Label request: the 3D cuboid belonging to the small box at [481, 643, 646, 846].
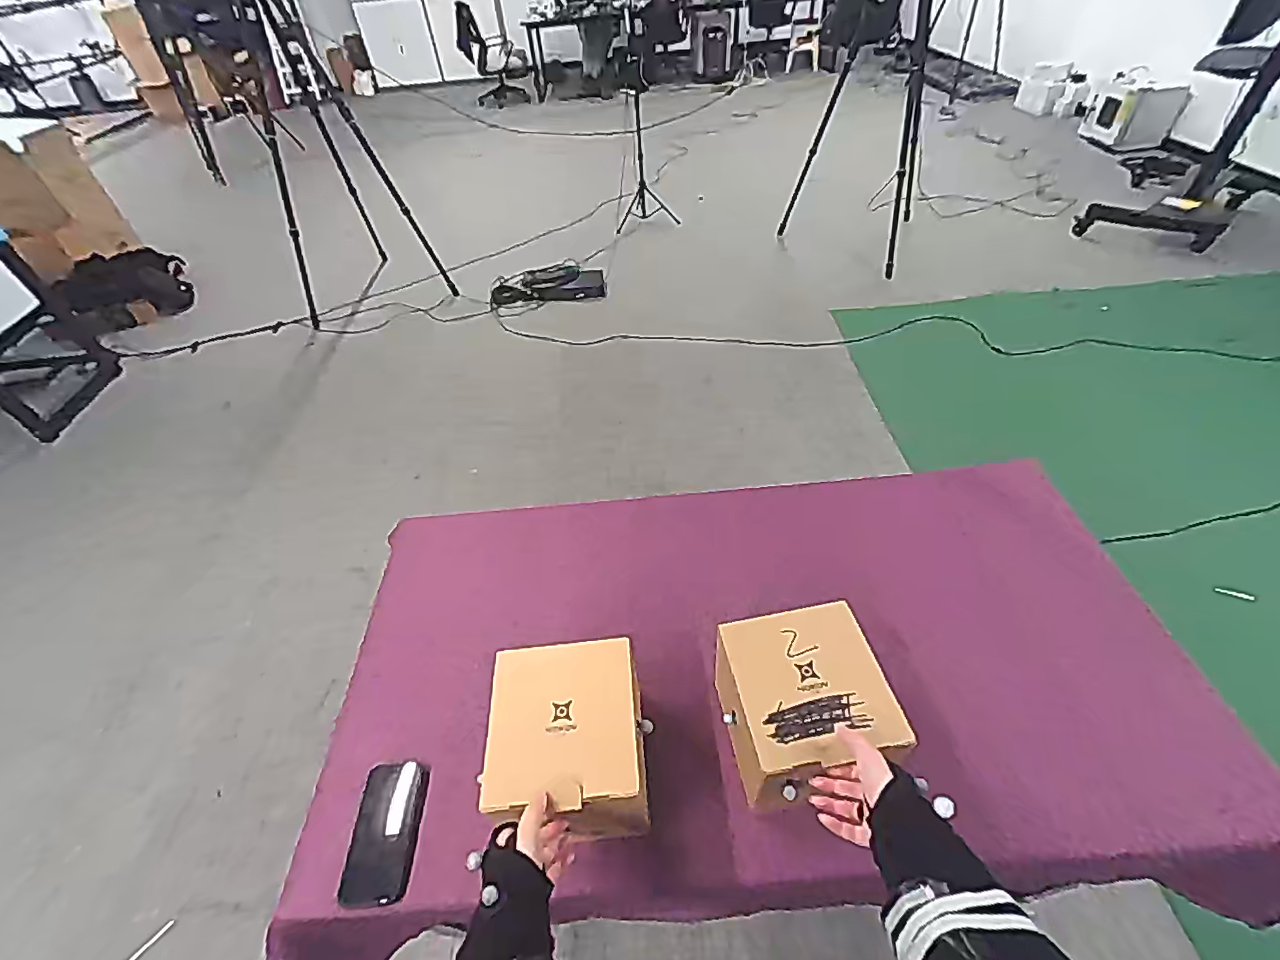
[{"bbox_3d":[-0.083,0.326,0.667,0.168,0.176,0.179,-6,47,0],"label":"small box"}]
